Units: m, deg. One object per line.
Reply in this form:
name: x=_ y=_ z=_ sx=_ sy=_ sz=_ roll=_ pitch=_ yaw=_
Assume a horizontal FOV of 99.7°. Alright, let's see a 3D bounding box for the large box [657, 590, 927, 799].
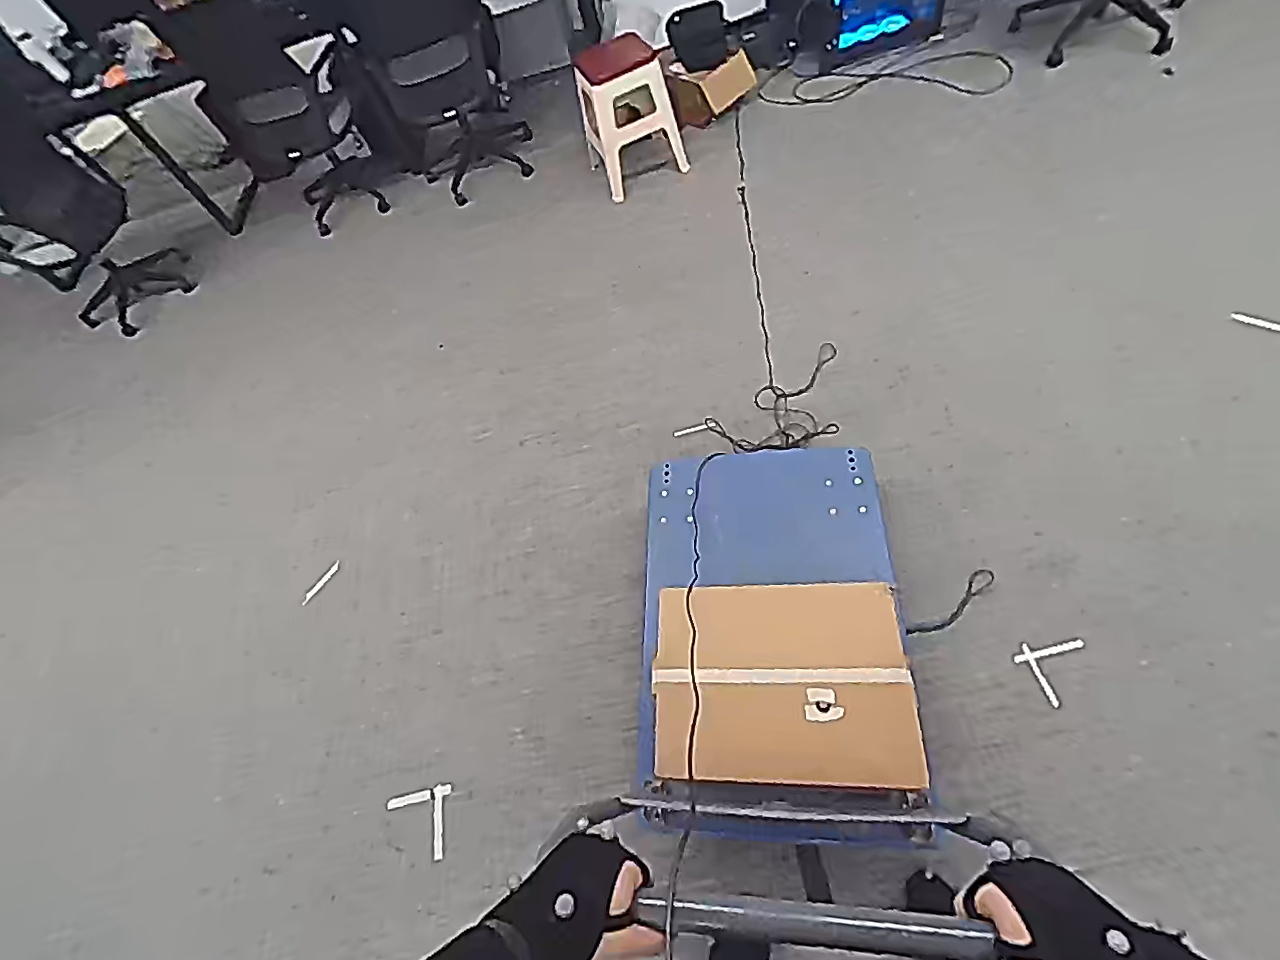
large box: x=0.252 y=0.409 z=1.008 sx=0.408 sy=0.320 sz=0.320 roll=-3 pitch=60 yaw=11
